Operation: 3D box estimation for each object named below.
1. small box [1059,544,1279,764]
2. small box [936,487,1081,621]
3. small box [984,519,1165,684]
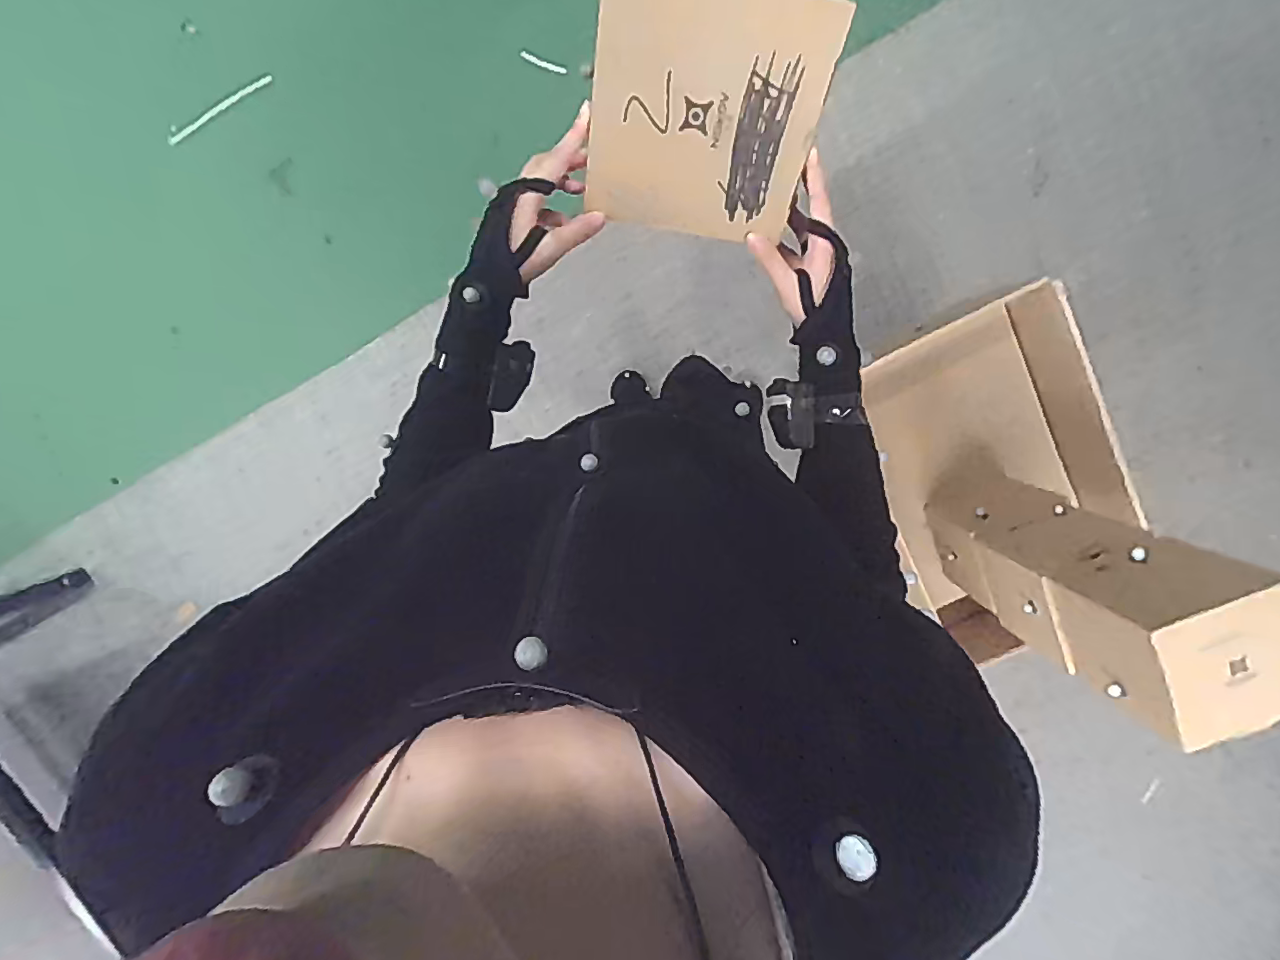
[{"bbox_3d":[0.681,0.205,0.677,0.168,0.176,0.179,-23,99,6],"label":"small box"},{"bbox_3d":[0.677,0.128,0.995,0.179,0.176,0.168,-22,100,5],"label":"small box"},{"bbox_3d":[0.676,0.173,0.837,0.168,0.176,0.179,-23,100,6],"label":"small box"}]
